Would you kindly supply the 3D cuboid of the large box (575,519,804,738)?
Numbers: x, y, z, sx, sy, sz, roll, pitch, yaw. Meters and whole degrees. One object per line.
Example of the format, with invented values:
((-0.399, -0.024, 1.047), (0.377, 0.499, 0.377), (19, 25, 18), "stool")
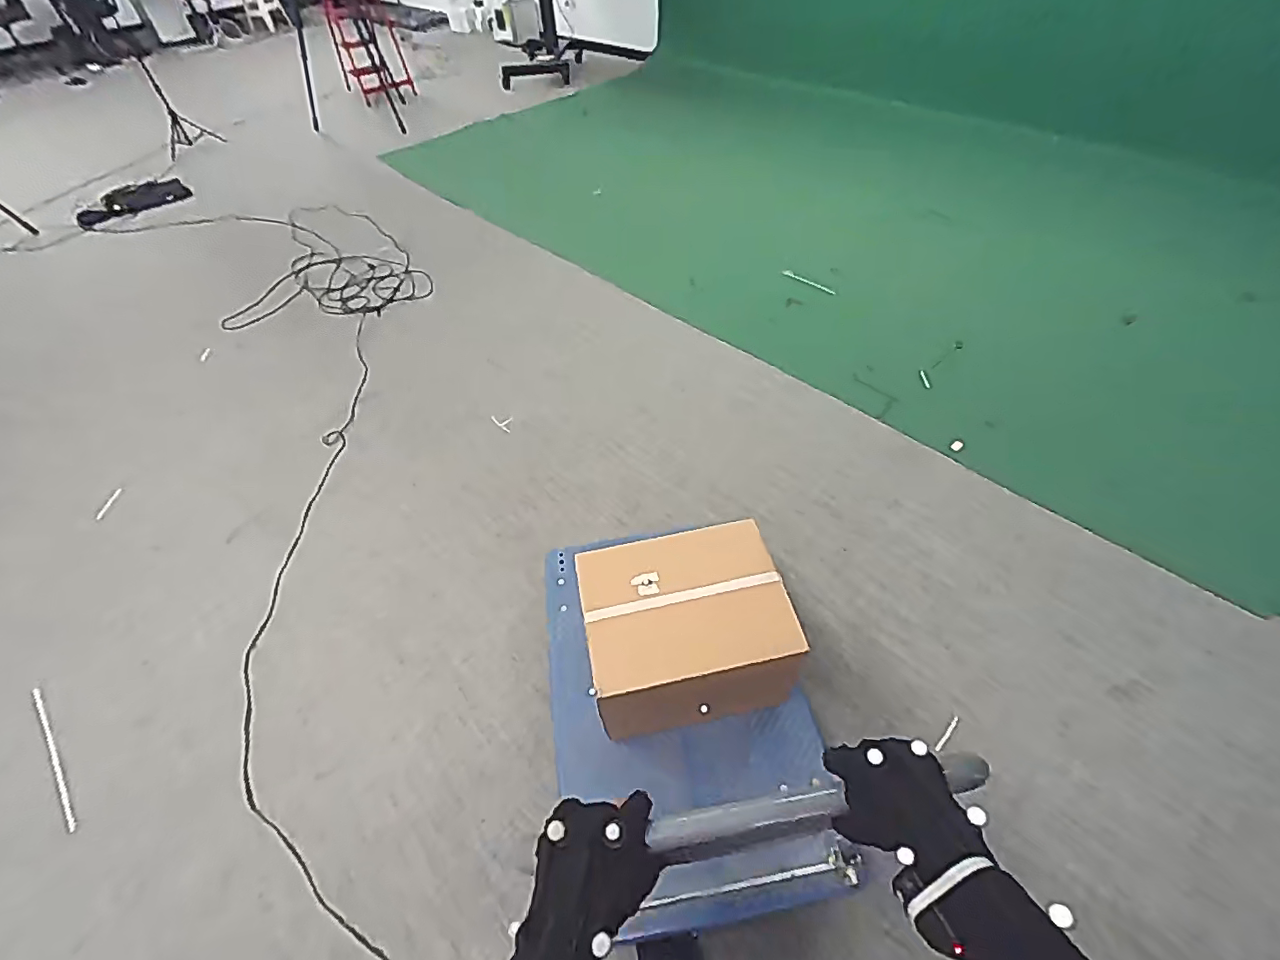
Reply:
((0.094, 0.332, 1.200), (0.408, 0.320, 0.320), (-12, 50, -5), "large box")
